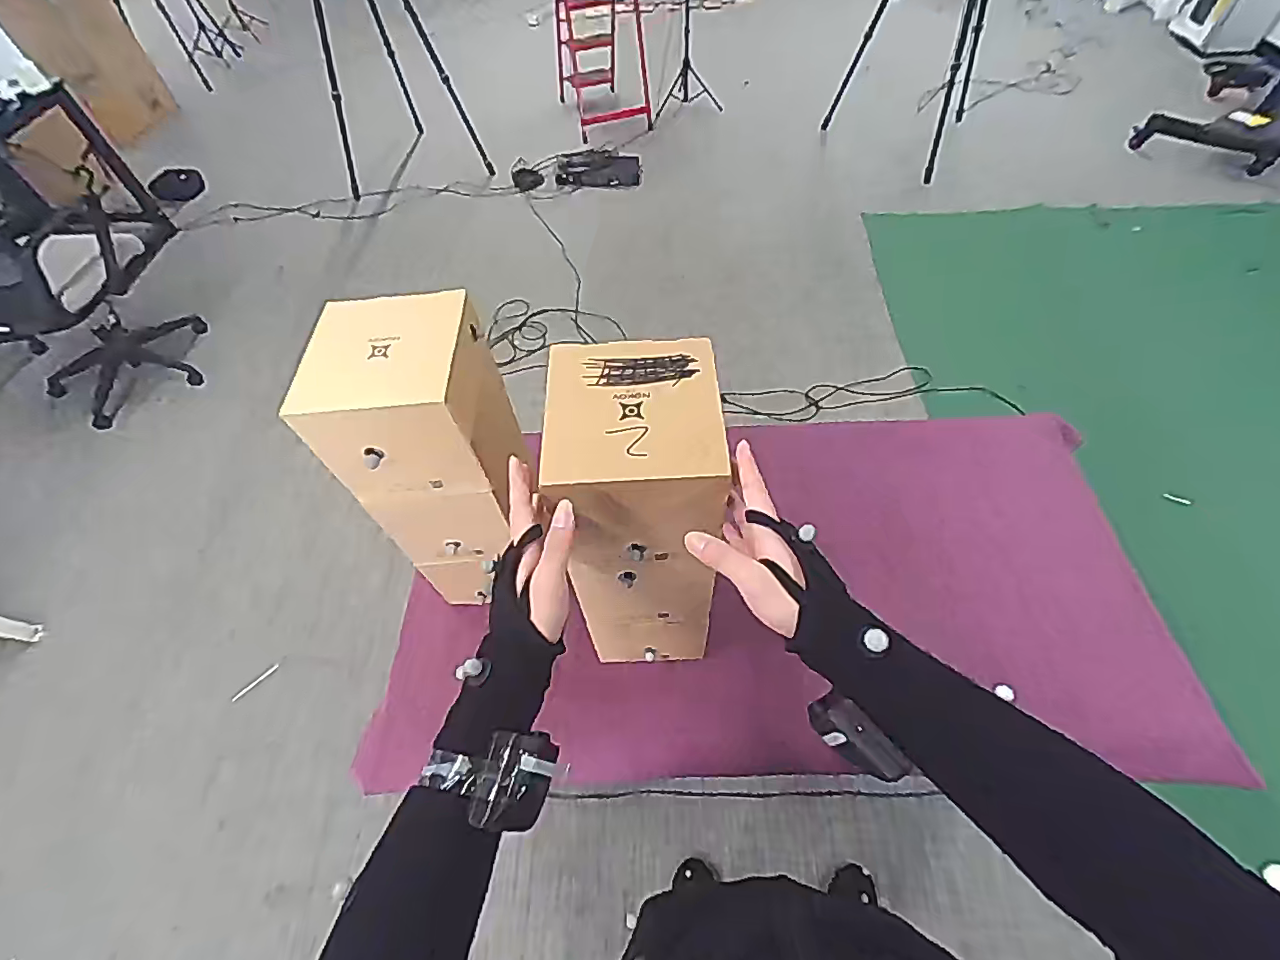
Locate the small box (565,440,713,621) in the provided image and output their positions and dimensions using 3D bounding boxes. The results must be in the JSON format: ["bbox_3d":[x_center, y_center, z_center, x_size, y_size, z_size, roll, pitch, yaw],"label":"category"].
[{"bbox_3d":[0.001,0.069,0.704,0.168,0.176,0.179,-3,55,2],"label":"small box"}]

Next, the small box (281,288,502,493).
[{"bbox_3d":[-0.269,-0.095,0.637,0.168,0.176,0.179,-5,55,1],"label":"small box"}]

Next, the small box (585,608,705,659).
[{"bbox_3d":[0.009,0.164,0.838,0.168,0.176,0.179,-3,56,2],"label":"small box"}]

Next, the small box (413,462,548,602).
[{"bbox_3d":[-0.253,0.089,0.905,0.168,0.176,0.179,-4,56,1],"label":"small box"}]

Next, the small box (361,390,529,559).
[{"bbox_3d":[-0.260,-0.004,0.771,0.168,0.176,0.179,-4,57,2],"label":"small box"}]
